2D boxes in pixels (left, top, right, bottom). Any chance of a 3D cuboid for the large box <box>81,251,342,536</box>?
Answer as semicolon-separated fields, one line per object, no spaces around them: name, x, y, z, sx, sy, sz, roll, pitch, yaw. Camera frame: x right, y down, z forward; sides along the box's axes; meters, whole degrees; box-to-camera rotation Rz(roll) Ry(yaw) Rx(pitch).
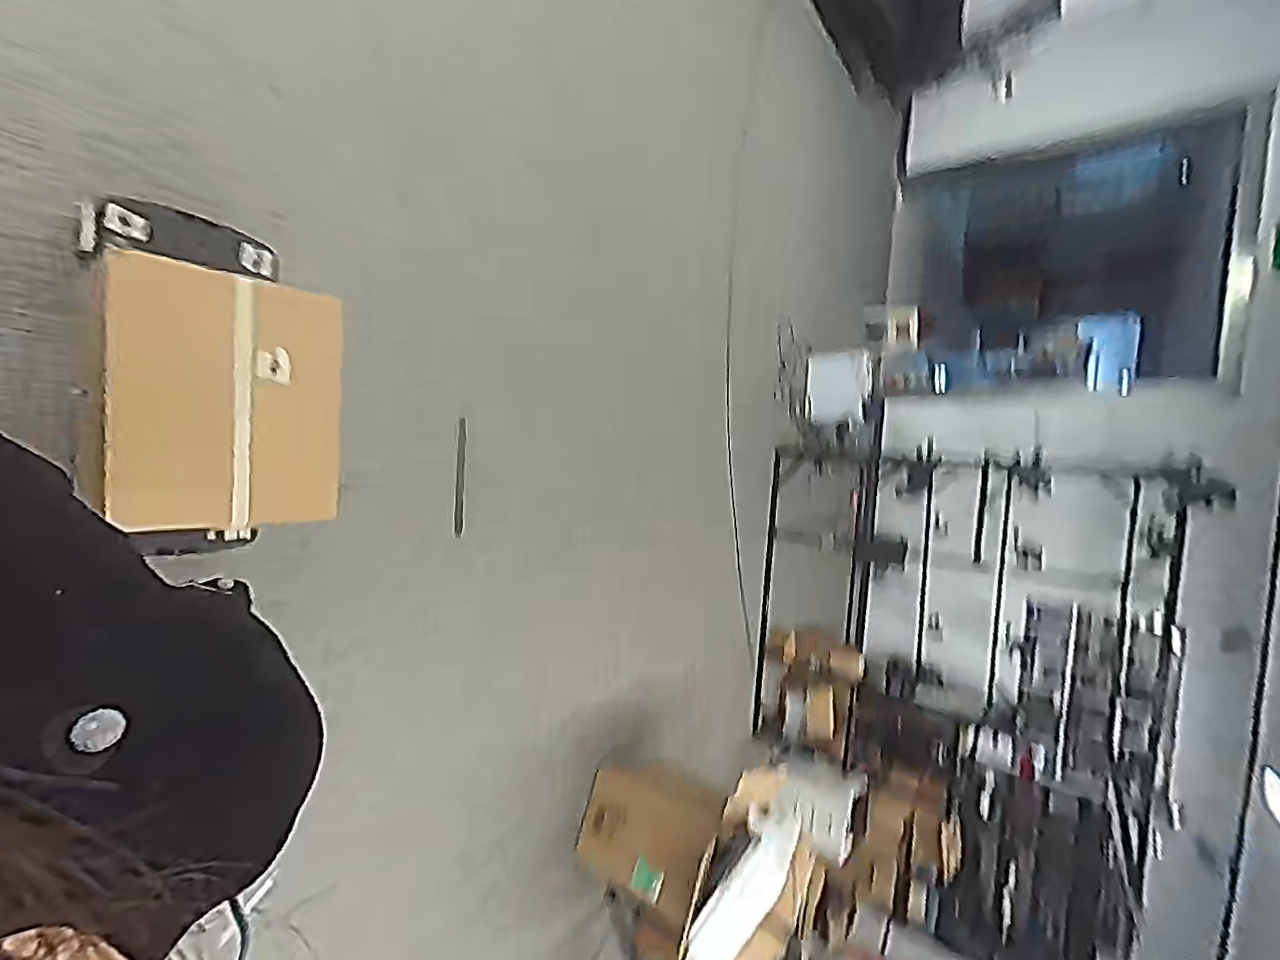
large box;-0.757;-0.127;0.960;0.320;0.320;0.408;0;93;-53
